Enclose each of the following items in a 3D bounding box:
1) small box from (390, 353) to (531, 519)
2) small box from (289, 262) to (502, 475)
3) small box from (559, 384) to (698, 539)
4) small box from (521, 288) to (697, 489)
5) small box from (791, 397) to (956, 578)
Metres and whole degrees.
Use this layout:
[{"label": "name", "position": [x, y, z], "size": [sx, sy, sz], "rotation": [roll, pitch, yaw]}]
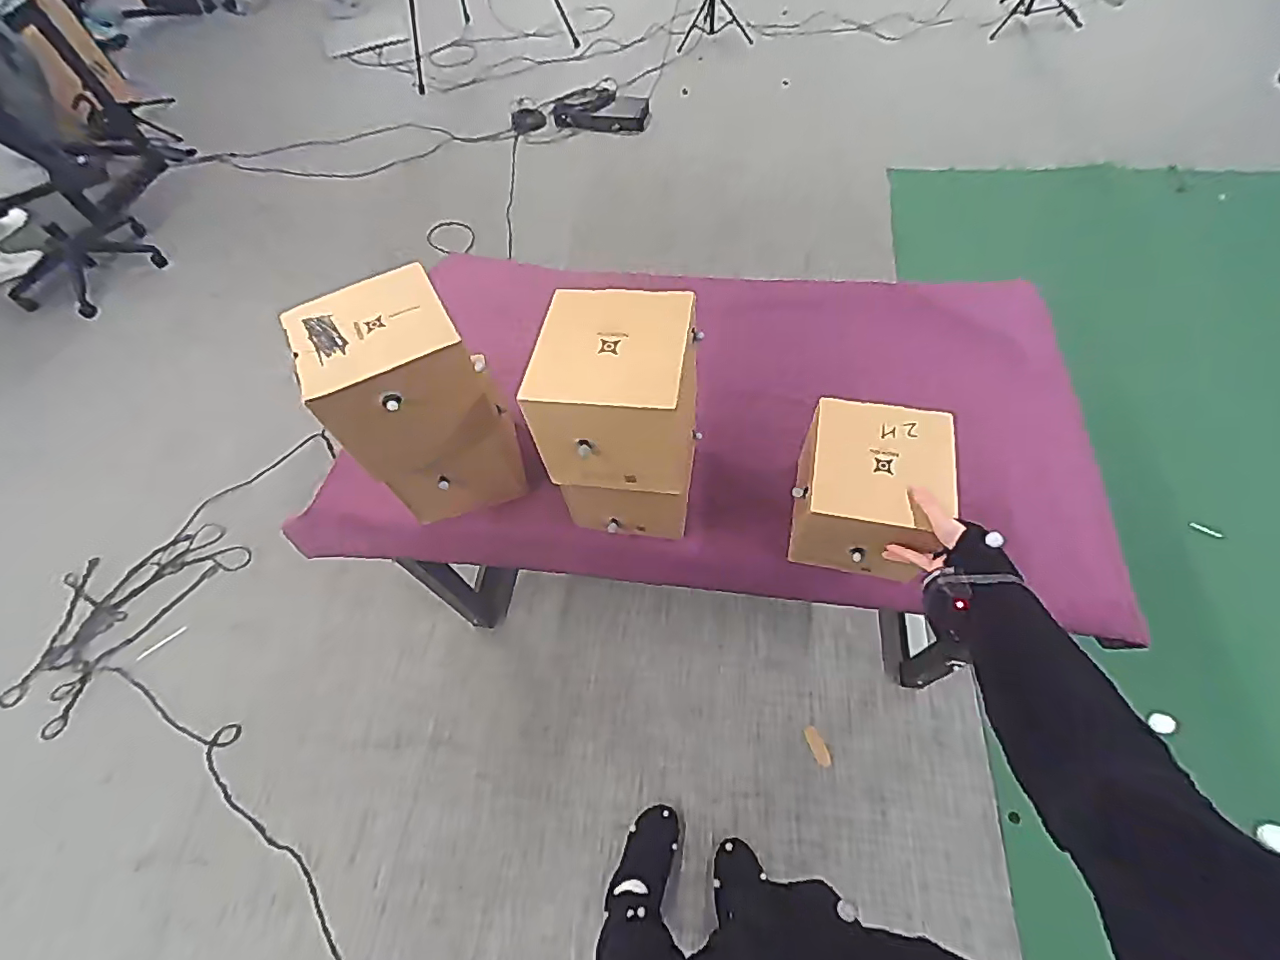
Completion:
[{"label": "small box", "position": [-0.284, -0.061, 0.835], "size": [0.179, 0.176, 0.168], "rotation": [-16, 58, -5]}, {"label": "small box", "position": [-0.301, -0.135, 0.687], "size": [0.179, 0.176, 0.168], "rotation": [-26, 60, -12]}, {"label": "small box", "position": [-0.007, -0.034, 0.795], "size": [0.168, 0.176, 0.179], "rotation": [5, 59, 10]}, {"label": "small box", "position": [-0.022, -0.105, 0.648], "size": [0.168, 0.176, 0.179], "rotation": [5, 57, 10]}, {"label": "small box", "position": [0.306, 0.016, 0.732], "size": [0.168, 0.176, 0.179], "rotation": [10, 62, 11]}]
